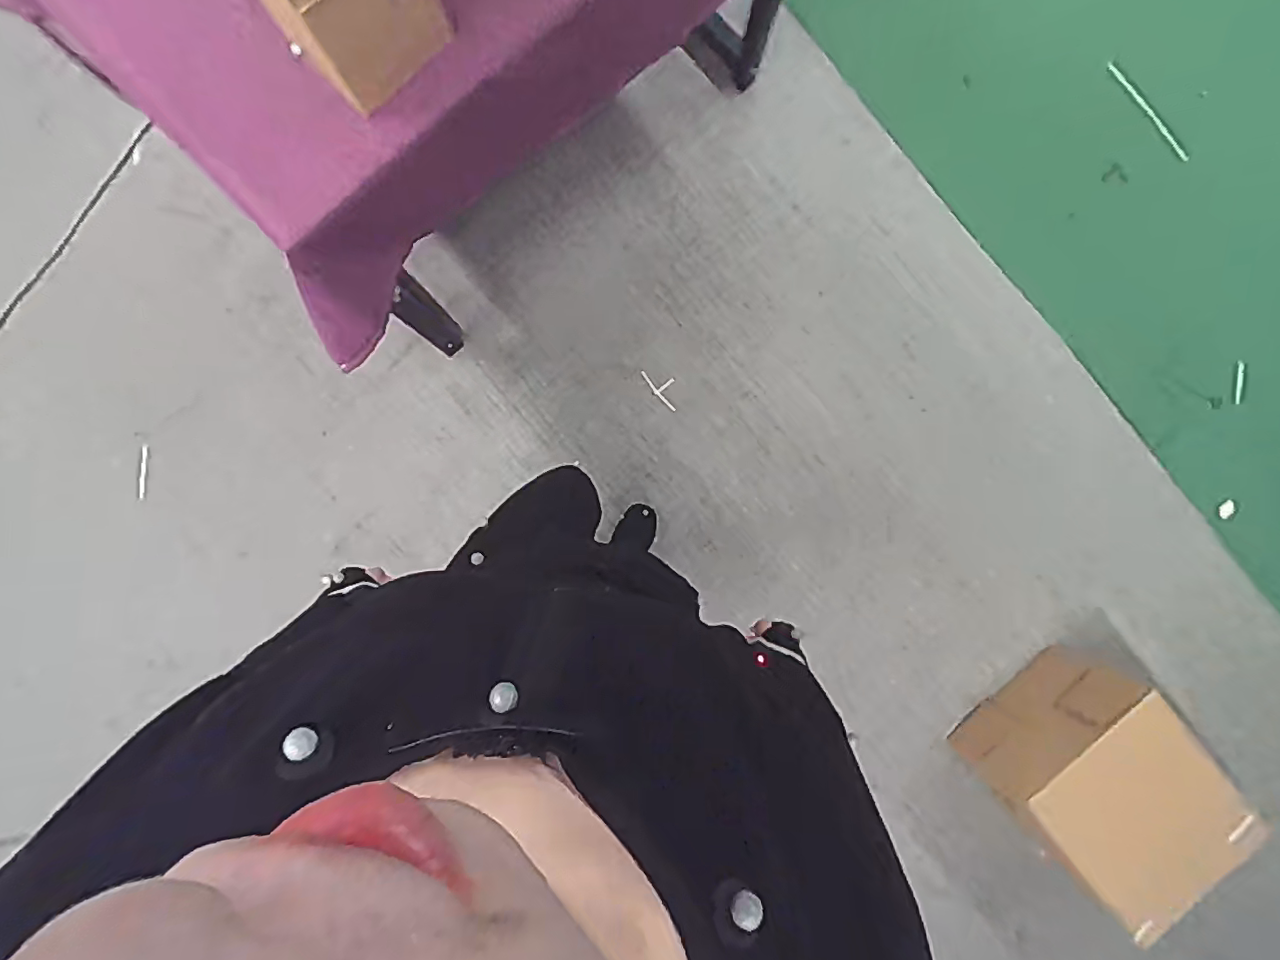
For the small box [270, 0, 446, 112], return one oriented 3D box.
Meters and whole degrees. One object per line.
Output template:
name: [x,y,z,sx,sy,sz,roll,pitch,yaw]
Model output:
small box: [-0.377,-0.639,0.698,0.179,0.176,0.168,-43,90,-3]
